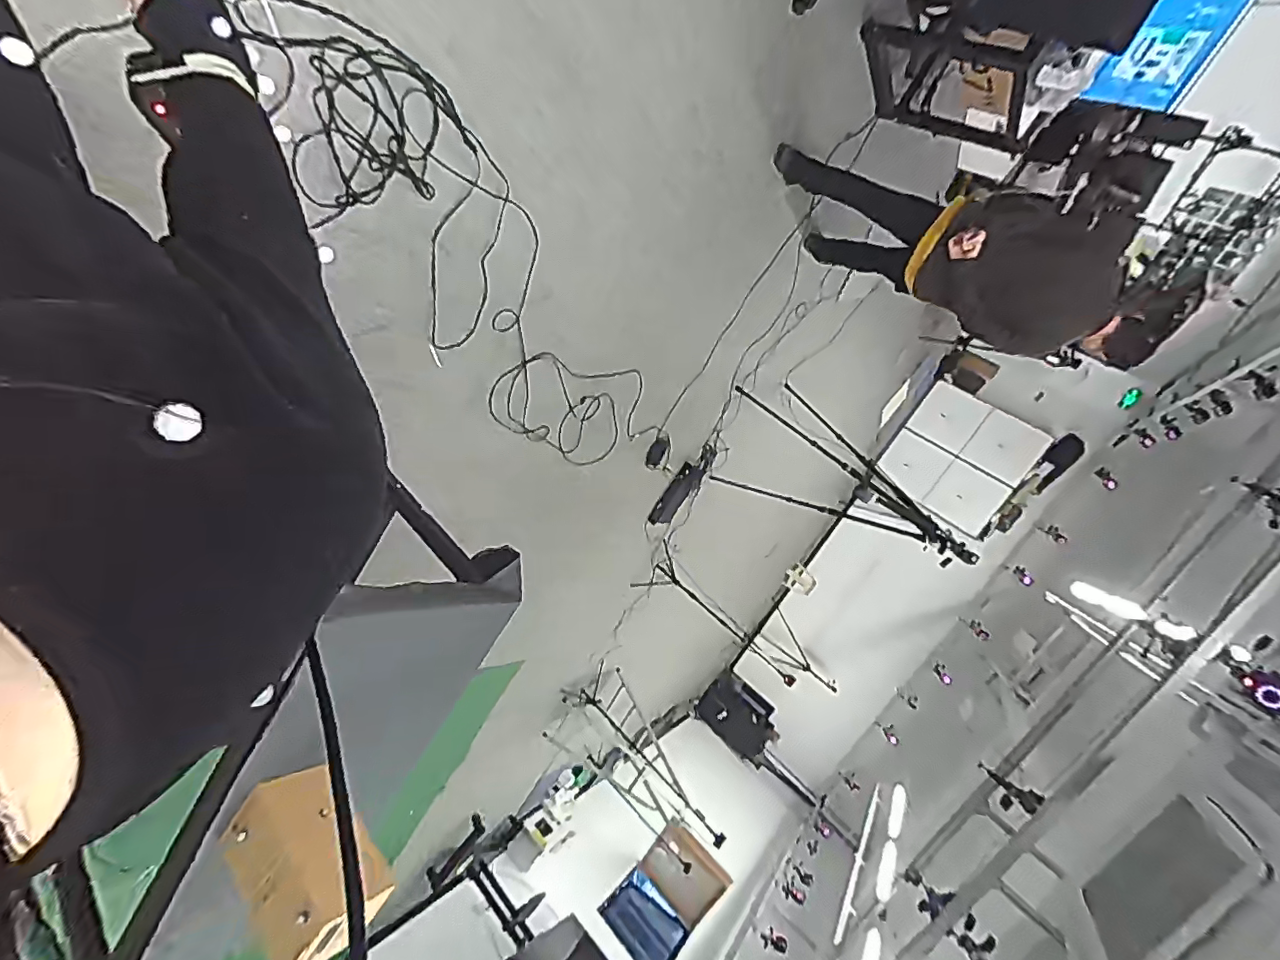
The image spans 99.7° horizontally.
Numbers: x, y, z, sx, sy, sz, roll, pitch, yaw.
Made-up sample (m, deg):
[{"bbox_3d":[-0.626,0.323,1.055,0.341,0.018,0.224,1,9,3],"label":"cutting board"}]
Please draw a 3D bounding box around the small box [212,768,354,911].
[{"bbox_3d":[-0.786,0.775,1.192,0.168,0.176,0.179,-55,154,5],"label":"small box"}]
